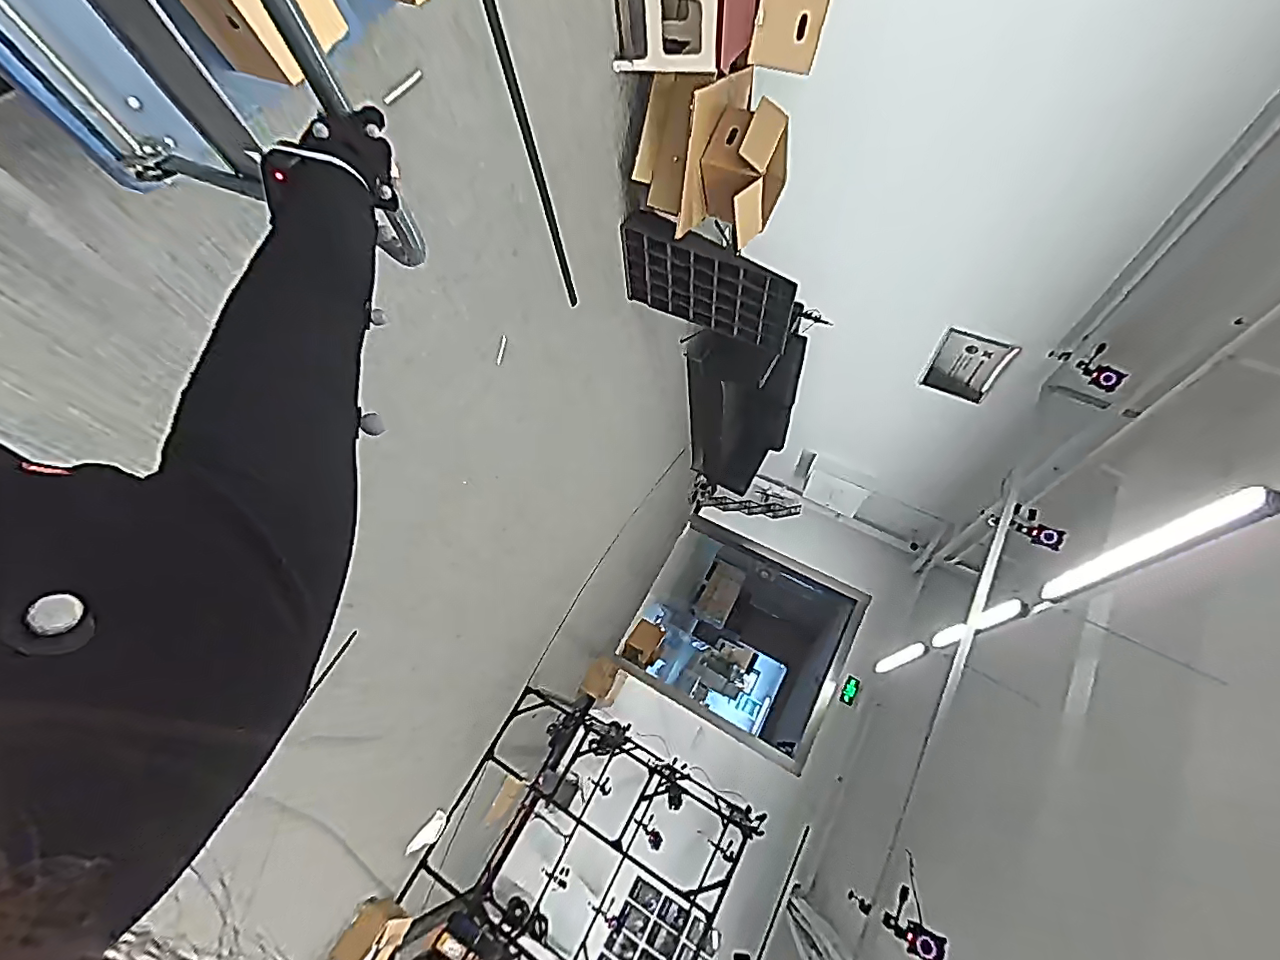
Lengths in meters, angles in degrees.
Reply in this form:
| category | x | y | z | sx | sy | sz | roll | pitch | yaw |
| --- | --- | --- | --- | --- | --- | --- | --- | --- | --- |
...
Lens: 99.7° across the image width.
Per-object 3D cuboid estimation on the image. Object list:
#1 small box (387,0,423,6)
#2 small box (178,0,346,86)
| category | x | y | z | sx | sy | sz | roll | pitch | yaw |
| --- | --- | --- | --- | --- | --- | --- | --- | --- | --- |
| small box | -0.499 | -1.109 | 1.091 | 0.179 | 0.176 | 0.168 | -57 | 161 | -19 |
| small box | -0.676 | -0.841 | 0.945 | 0.168 | 0.176 | 0.179 | -60 | 162 | -14 |
